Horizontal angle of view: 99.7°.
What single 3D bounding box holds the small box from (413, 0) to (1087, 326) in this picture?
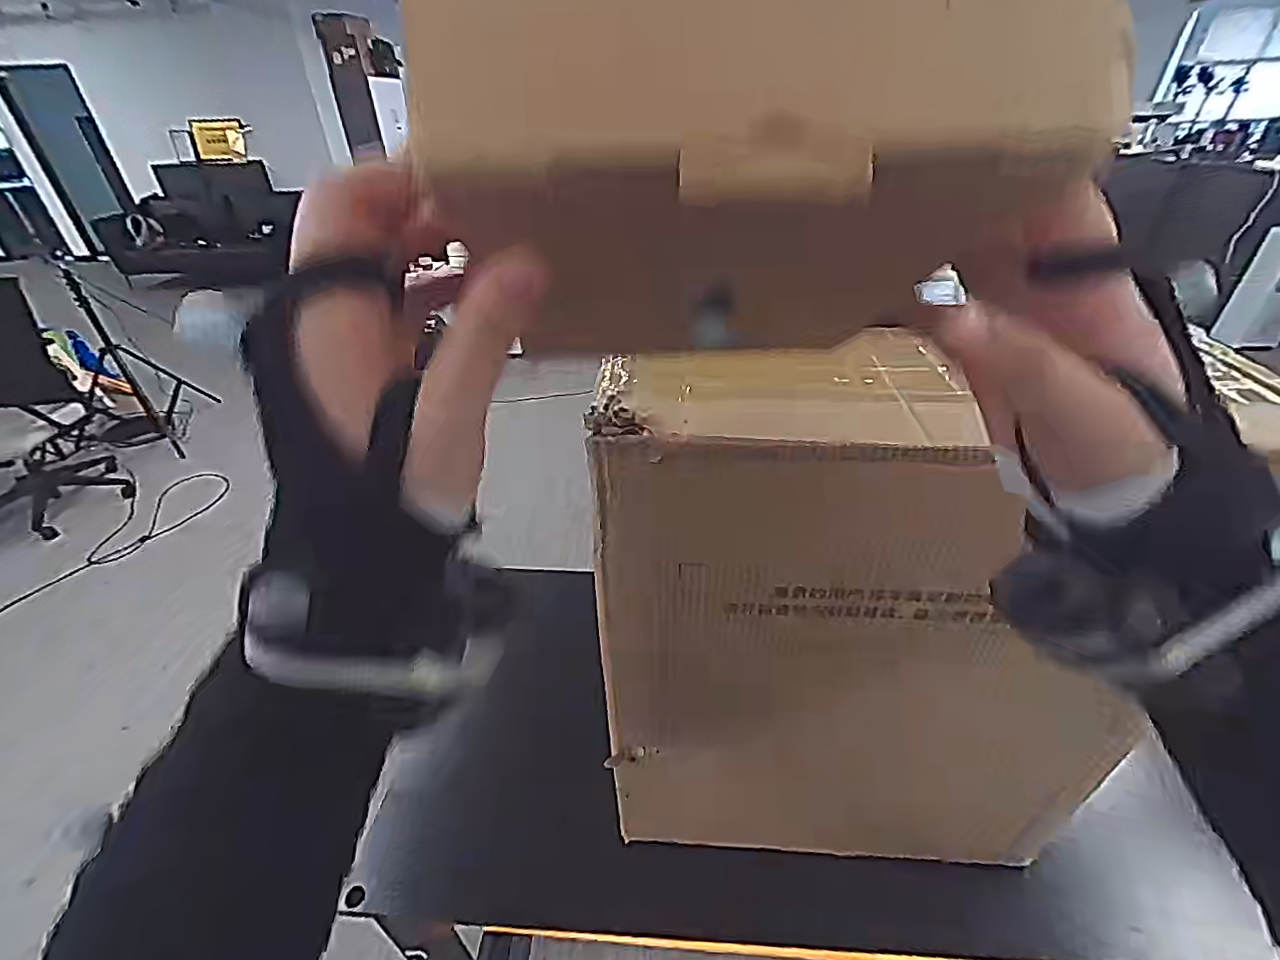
[{"bbox_3d":[0.023,-0.167,0.214,0.168,0.179,0.176,-2,-2,-2],"label":"small box"}]
